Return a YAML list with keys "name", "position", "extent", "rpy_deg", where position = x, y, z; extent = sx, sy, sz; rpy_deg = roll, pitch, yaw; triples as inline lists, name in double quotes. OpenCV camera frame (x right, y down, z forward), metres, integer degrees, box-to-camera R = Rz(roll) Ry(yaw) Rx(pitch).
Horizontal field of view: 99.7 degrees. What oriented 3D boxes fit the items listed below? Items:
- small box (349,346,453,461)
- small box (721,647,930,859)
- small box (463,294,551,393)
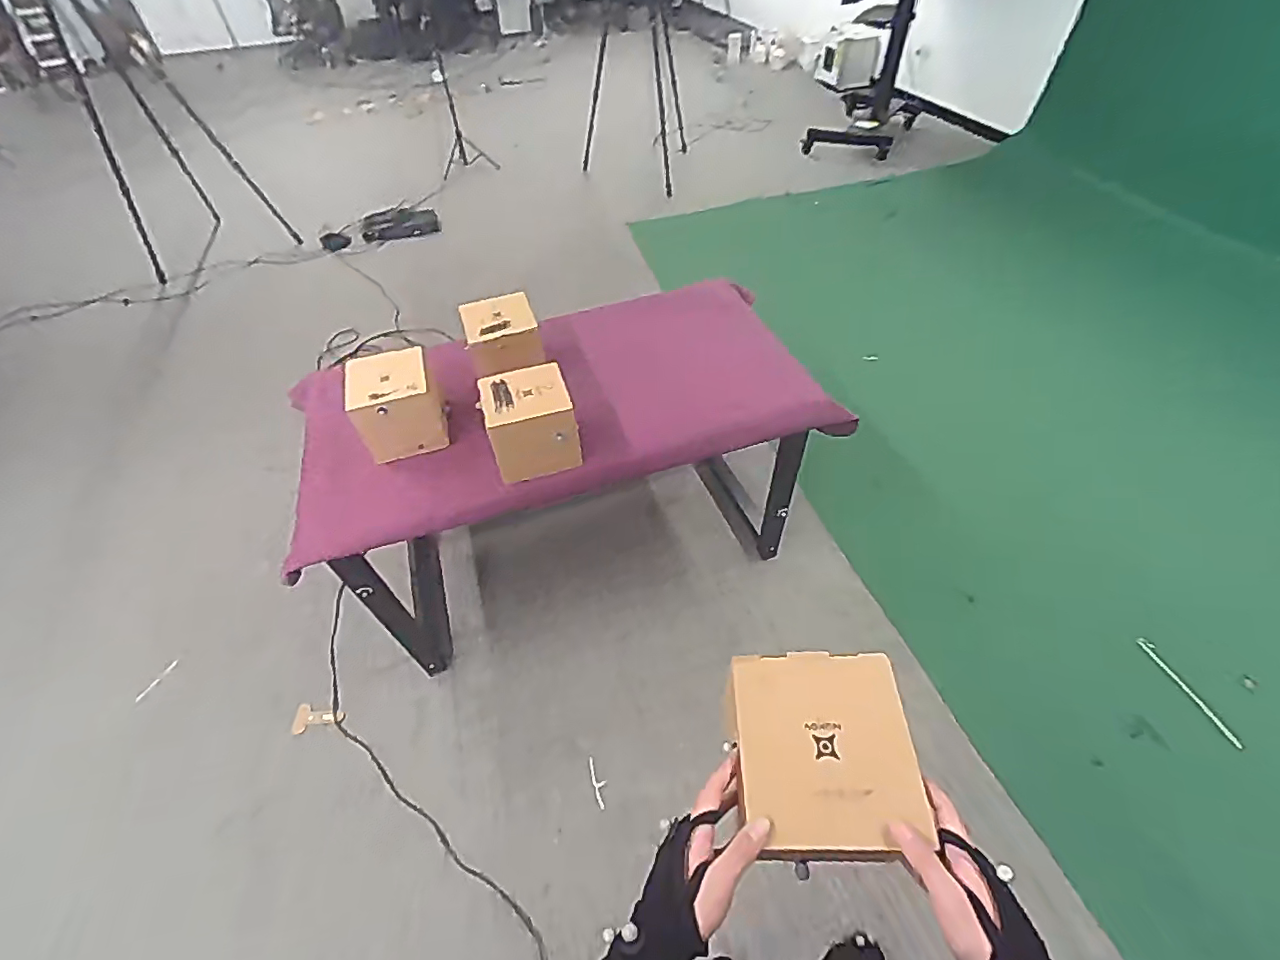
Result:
- name: "small box"
  position: [-0.539, -0.173, 1.232]
  extent: [0.168, 0.176, 0.179]
  rpy_deg: [-16, 50, -9]
- name: "small box"
  position: [0.178, 0.297, 0.587]
  extent: [0.168, 0.176, 0.179]
  rpy_deg: [-2, 52, 4]
- name: "small box"
  position: [-0.332, -0.338, 1.365]
  extent: [0.168, 0.176, 0.179]
  rpy_deg: [-17, 50, -11]
